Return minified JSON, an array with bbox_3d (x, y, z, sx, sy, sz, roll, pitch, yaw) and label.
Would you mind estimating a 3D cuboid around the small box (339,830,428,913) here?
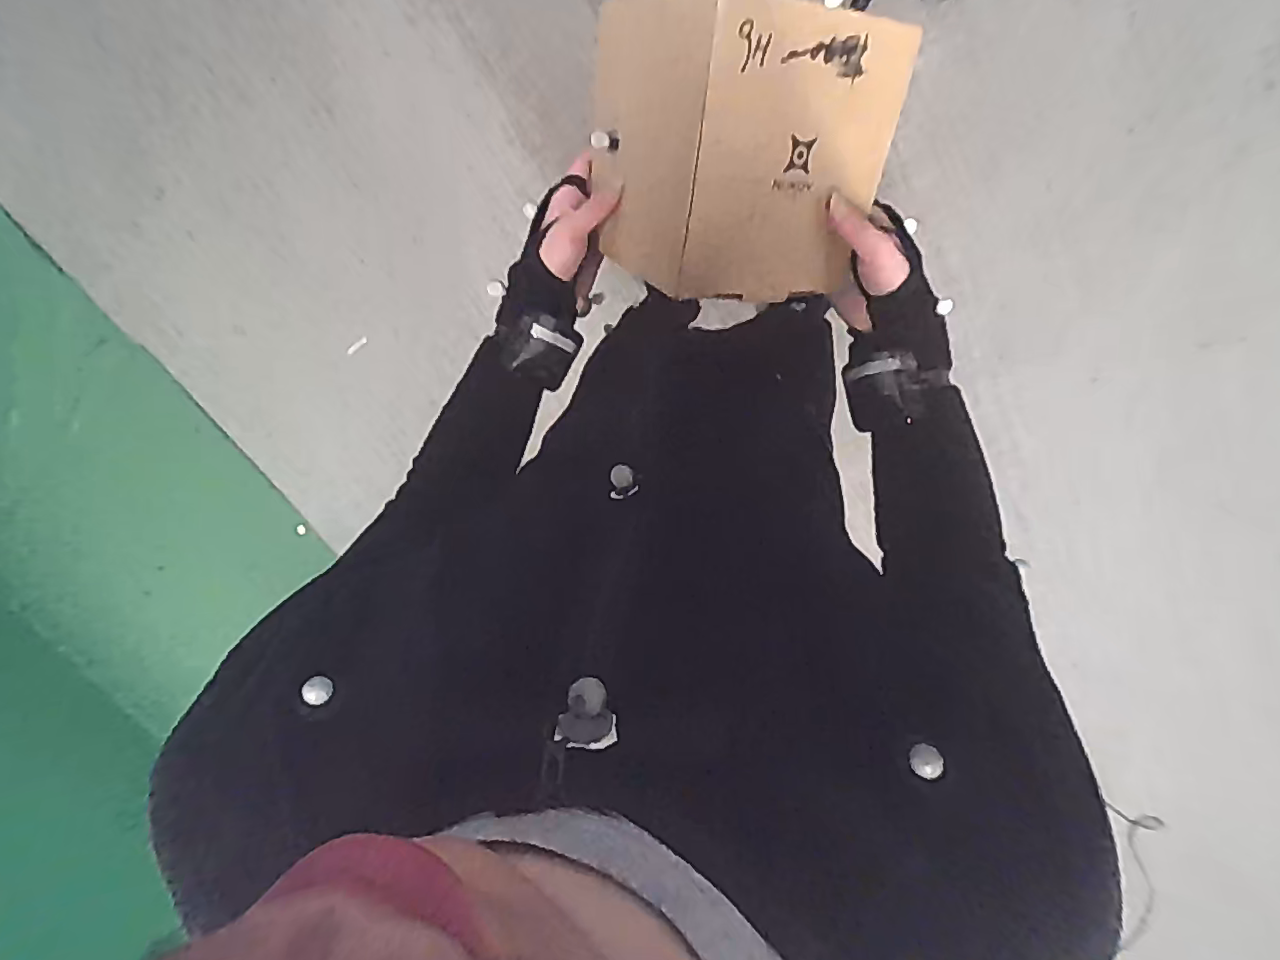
[{"bbox_3d":[-0.836,1.288,1.788,0.179,0.176,0.168,-22,109,29],"label":"small box"}]
